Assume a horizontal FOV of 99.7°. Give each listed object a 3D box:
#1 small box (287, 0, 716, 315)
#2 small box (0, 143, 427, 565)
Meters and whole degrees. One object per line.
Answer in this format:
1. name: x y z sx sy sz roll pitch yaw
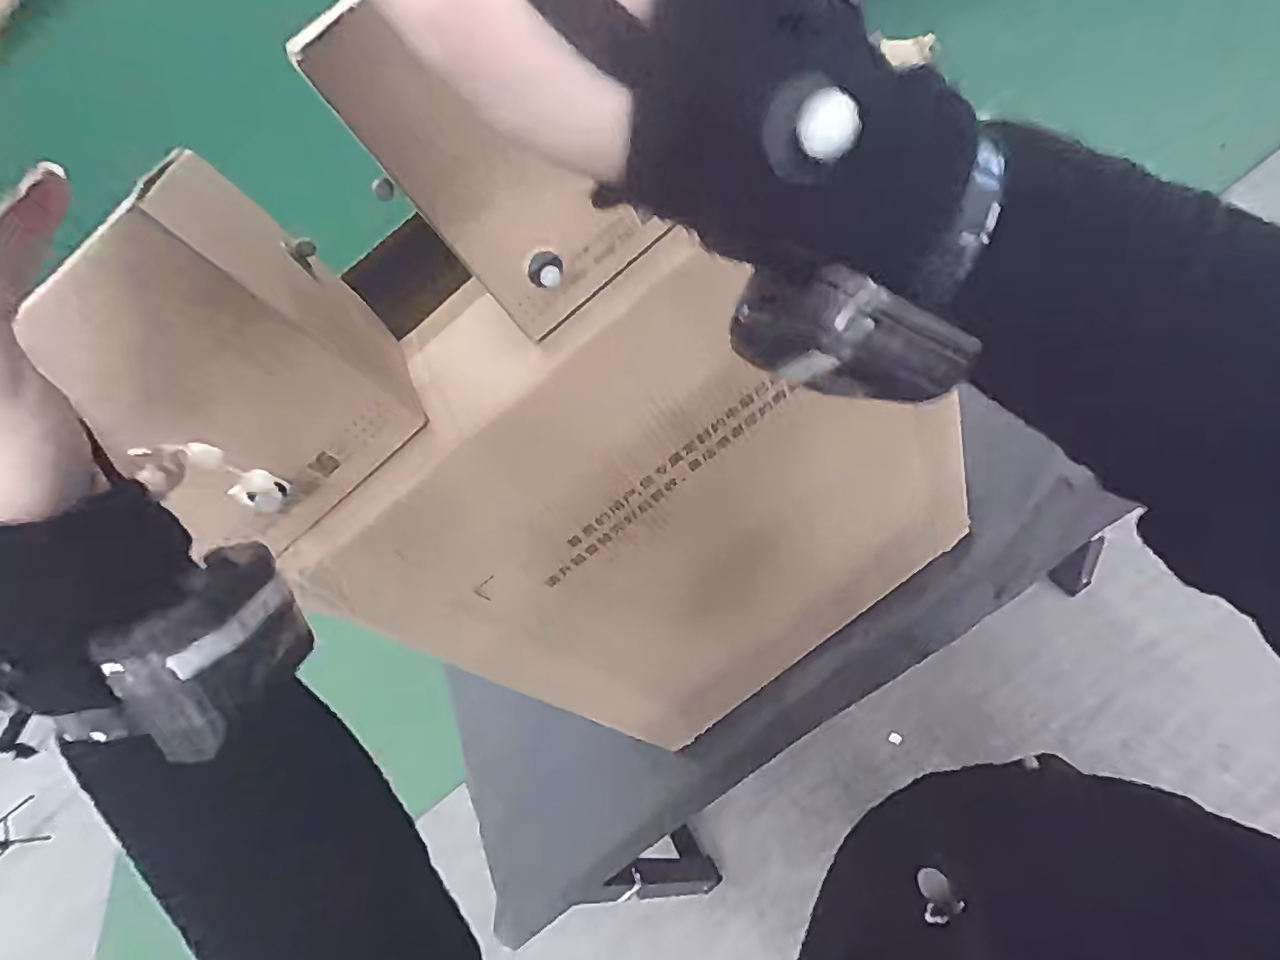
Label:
1. small box: -0.080 -0.232 0.336 0.168 0.176 0.179 -40 46 0
2. small box: -0.271 -0.075 0.351 0.168 0.176 0.179 -43 48 2
